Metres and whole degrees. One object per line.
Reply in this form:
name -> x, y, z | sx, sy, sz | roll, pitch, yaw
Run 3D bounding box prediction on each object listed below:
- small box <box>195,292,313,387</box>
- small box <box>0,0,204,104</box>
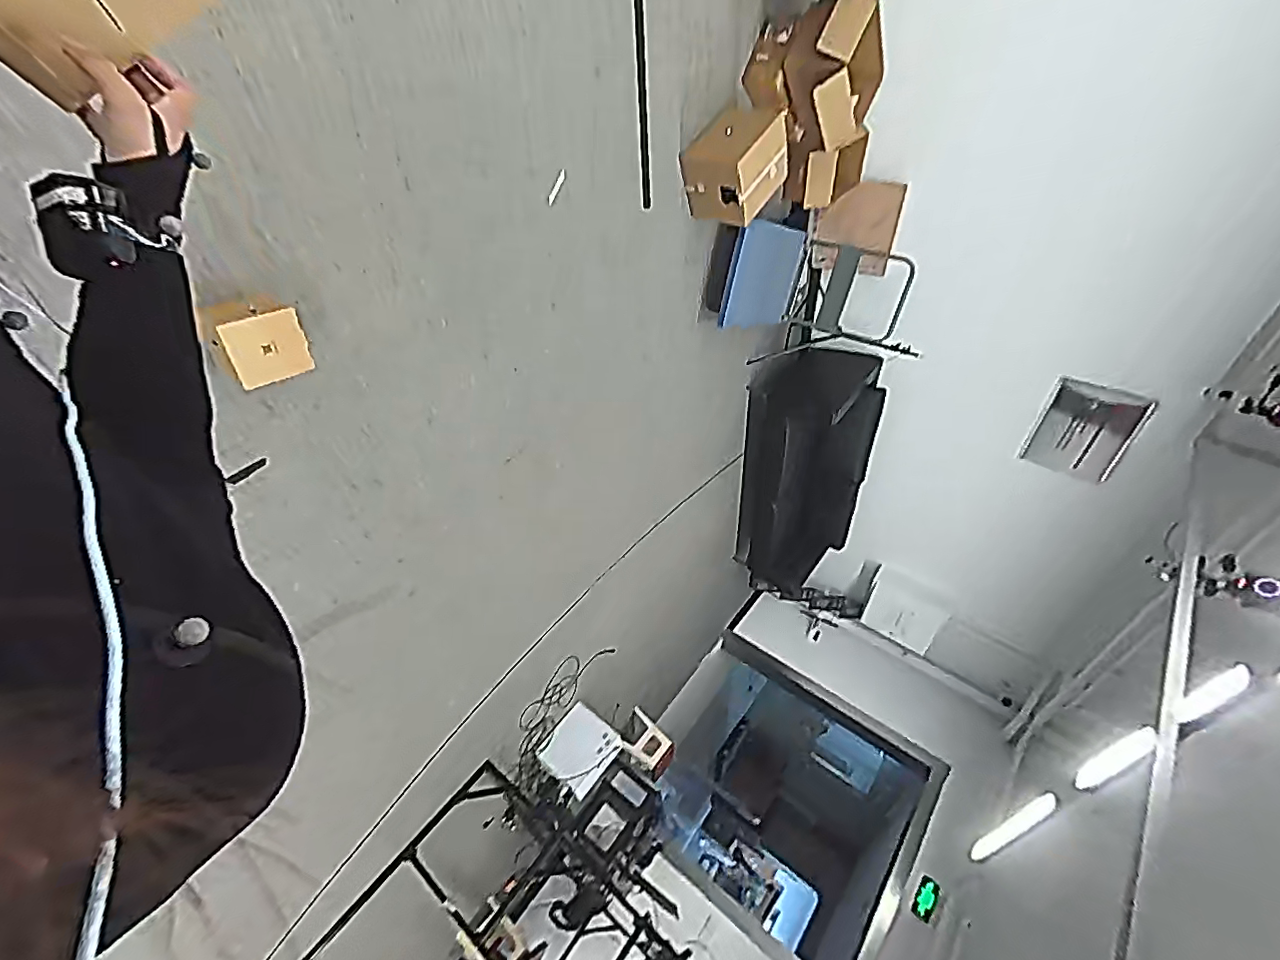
small box -> -0.977, -0.360, 1.364 | 0.179, 0.176, 0.168 | -38, 142, -39
small box -> -0.493, -0.441, 0.394 | 0.168, 0.176, 0.179 | -52, 173, -11
